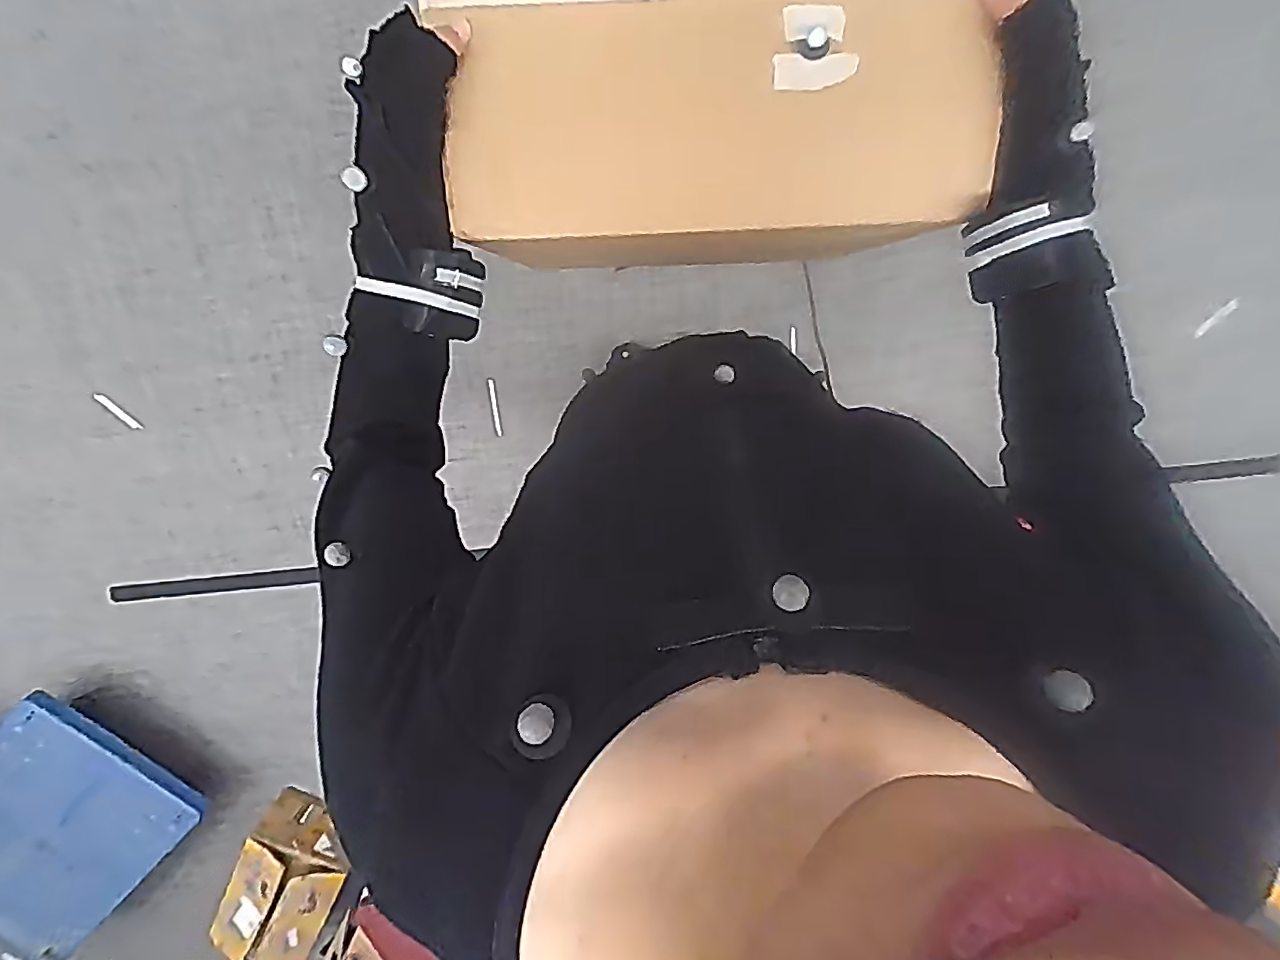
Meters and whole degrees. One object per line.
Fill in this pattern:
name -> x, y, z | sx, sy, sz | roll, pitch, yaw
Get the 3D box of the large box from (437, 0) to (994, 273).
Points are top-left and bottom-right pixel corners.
large box -> 0.050, -0.389, 0.524 | 0.408, 0.320, 0.320 | -2, 107, 0
